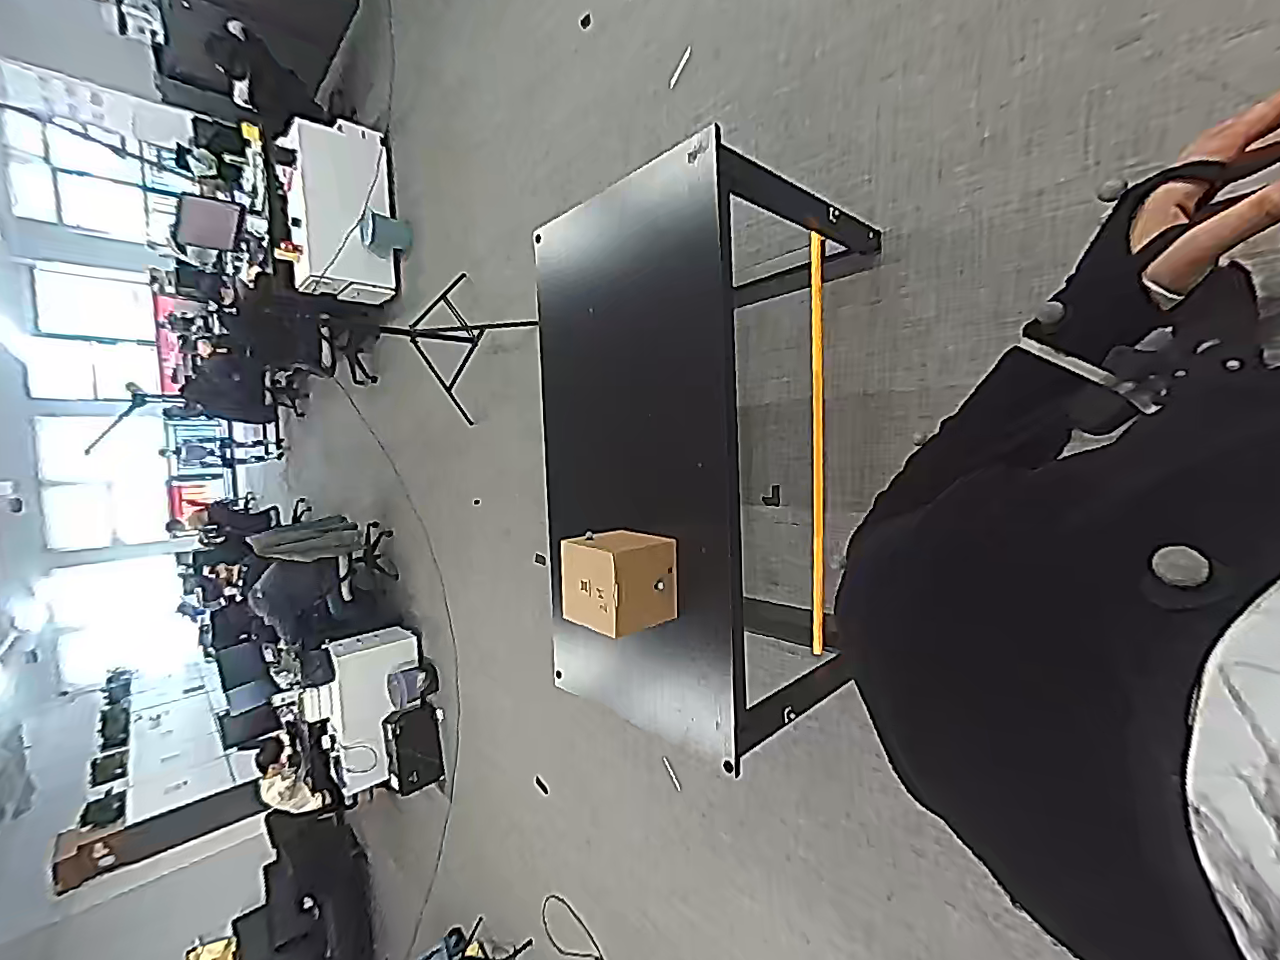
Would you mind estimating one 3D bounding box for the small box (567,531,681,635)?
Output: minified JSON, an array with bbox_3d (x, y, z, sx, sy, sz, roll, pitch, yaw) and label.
[{"bbox_3d":[-0.034,0.202,1.119,0.179,0.176,0.168,4,97,48],"label":"small box"}]
